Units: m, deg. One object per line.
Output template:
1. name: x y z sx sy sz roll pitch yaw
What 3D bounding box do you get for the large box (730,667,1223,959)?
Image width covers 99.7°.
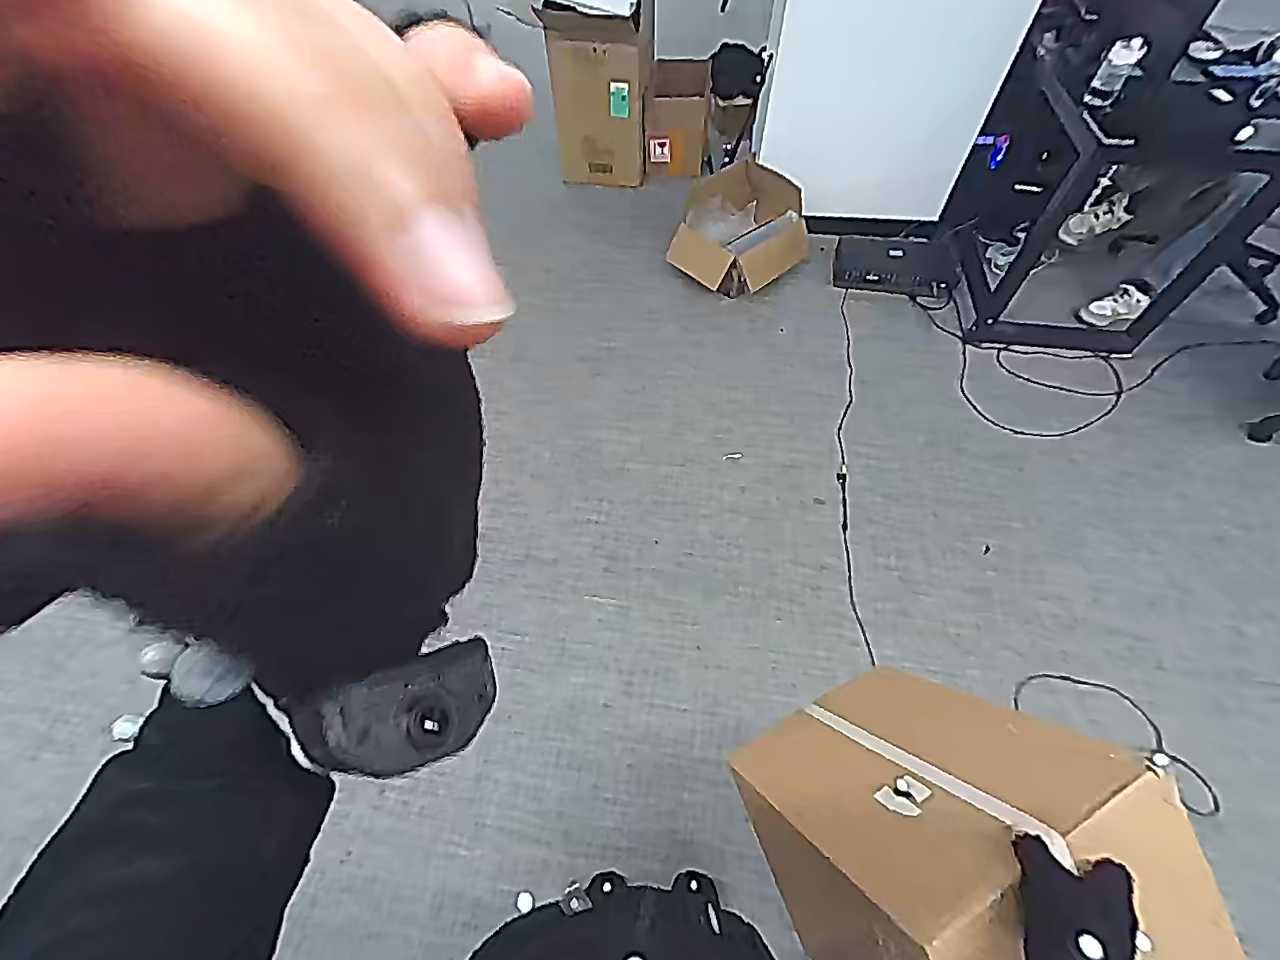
1. large box: 0.376 0.489 0.685 0.320 0.408 0.320 -22 92 -16
